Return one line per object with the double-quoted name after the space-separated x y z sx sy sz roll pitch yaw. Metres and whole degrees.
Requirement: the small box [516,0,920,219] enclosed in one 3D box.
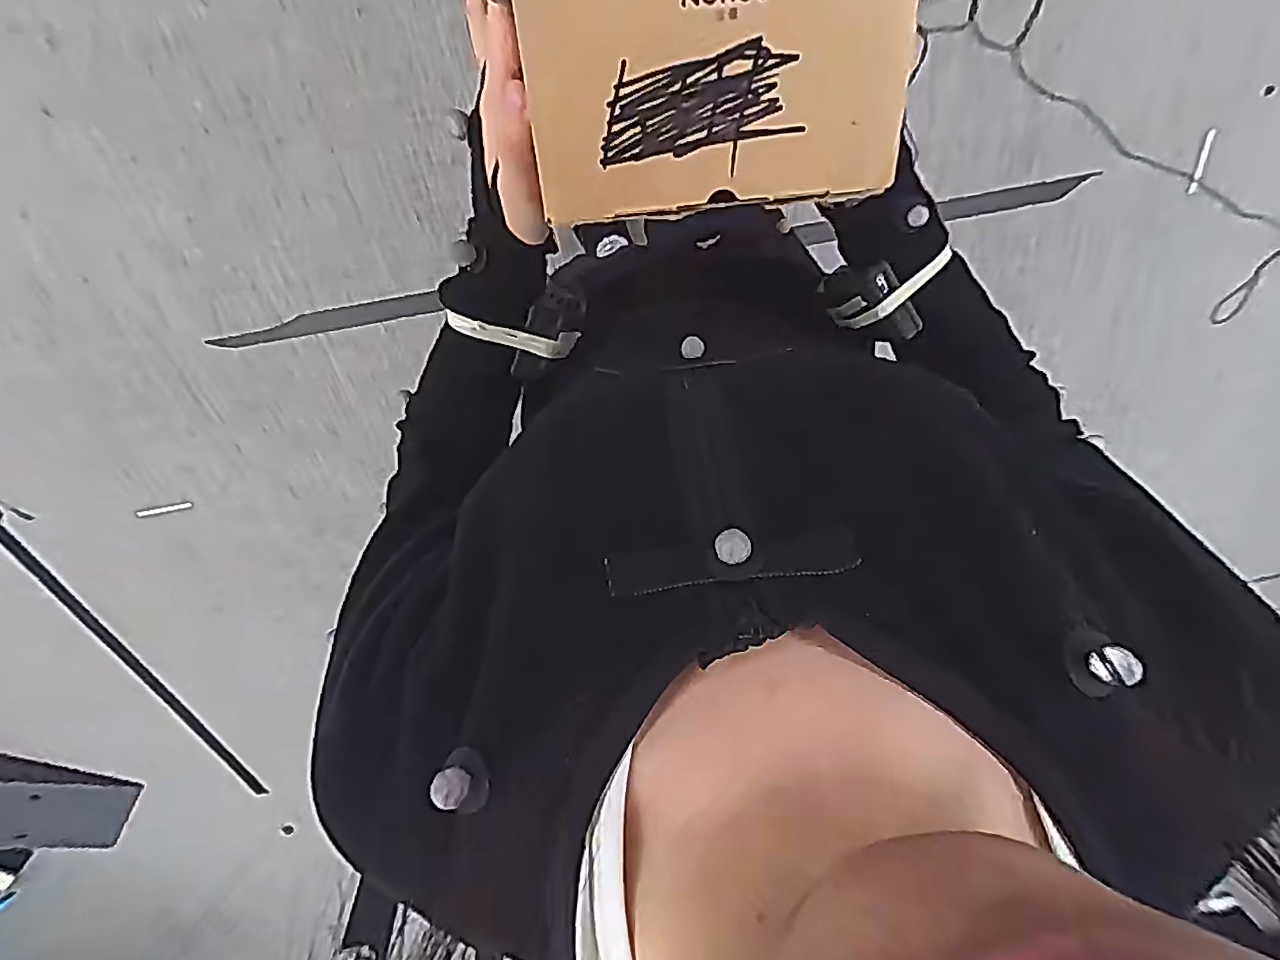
0.023 -0.246 0.273 0.168 0.176 0.179 -8 123 -4 "small box"
